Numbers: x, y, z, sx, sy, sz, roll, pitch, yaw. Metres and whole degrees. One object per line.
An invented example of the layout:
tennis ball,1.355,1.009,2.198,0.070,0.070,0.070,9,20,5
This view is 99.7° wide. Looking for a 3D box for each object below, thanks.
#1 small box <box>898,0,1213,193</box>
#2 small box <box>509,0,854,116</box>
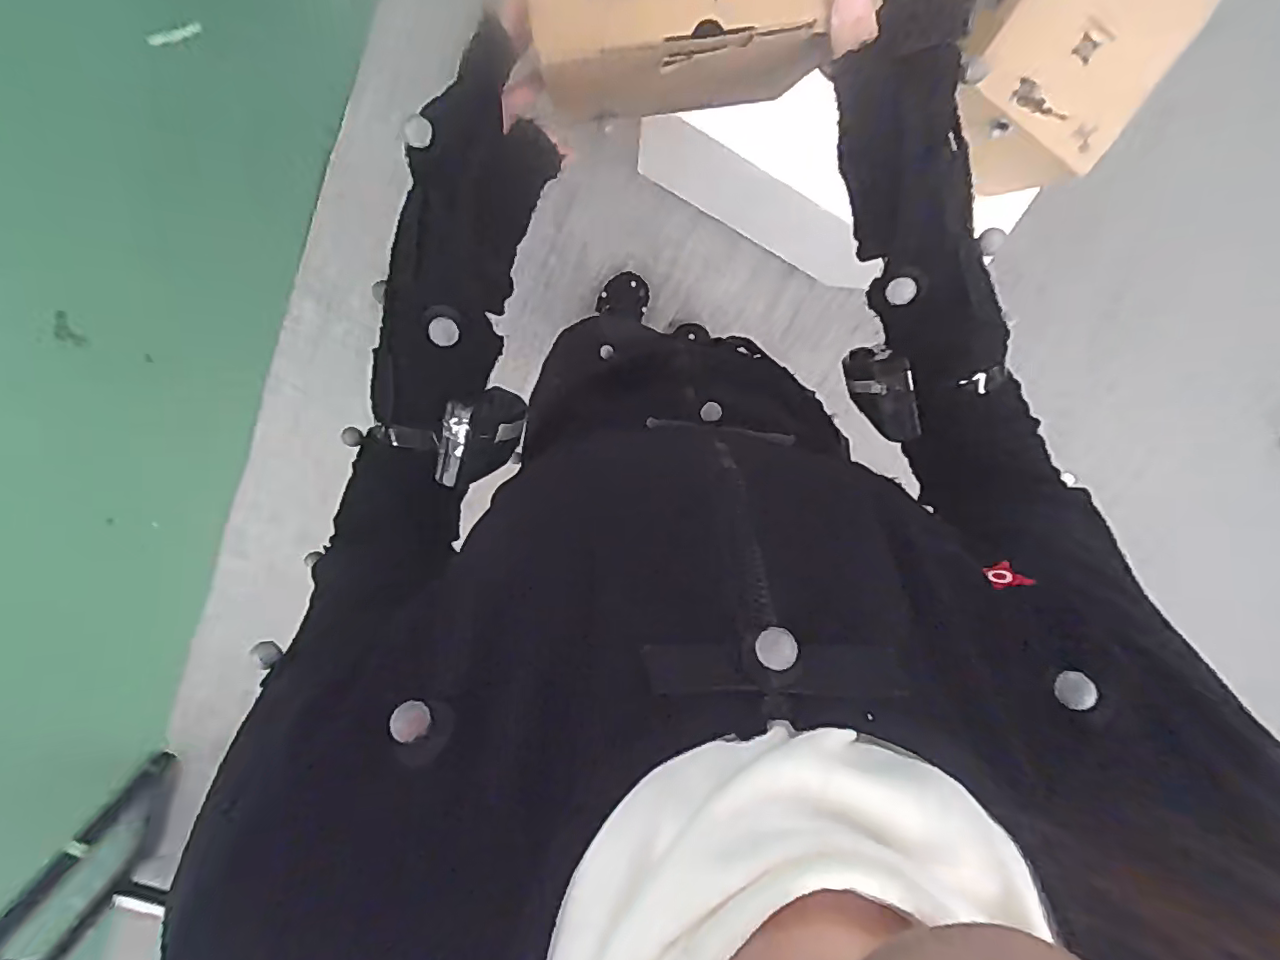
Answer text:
small box,0.426,-0.450,0.591,0.168,0.176,0.179,30,107,-11
small box,0.009,-0.322,0.298,0.168,0.176,0.179,-8,114,0
